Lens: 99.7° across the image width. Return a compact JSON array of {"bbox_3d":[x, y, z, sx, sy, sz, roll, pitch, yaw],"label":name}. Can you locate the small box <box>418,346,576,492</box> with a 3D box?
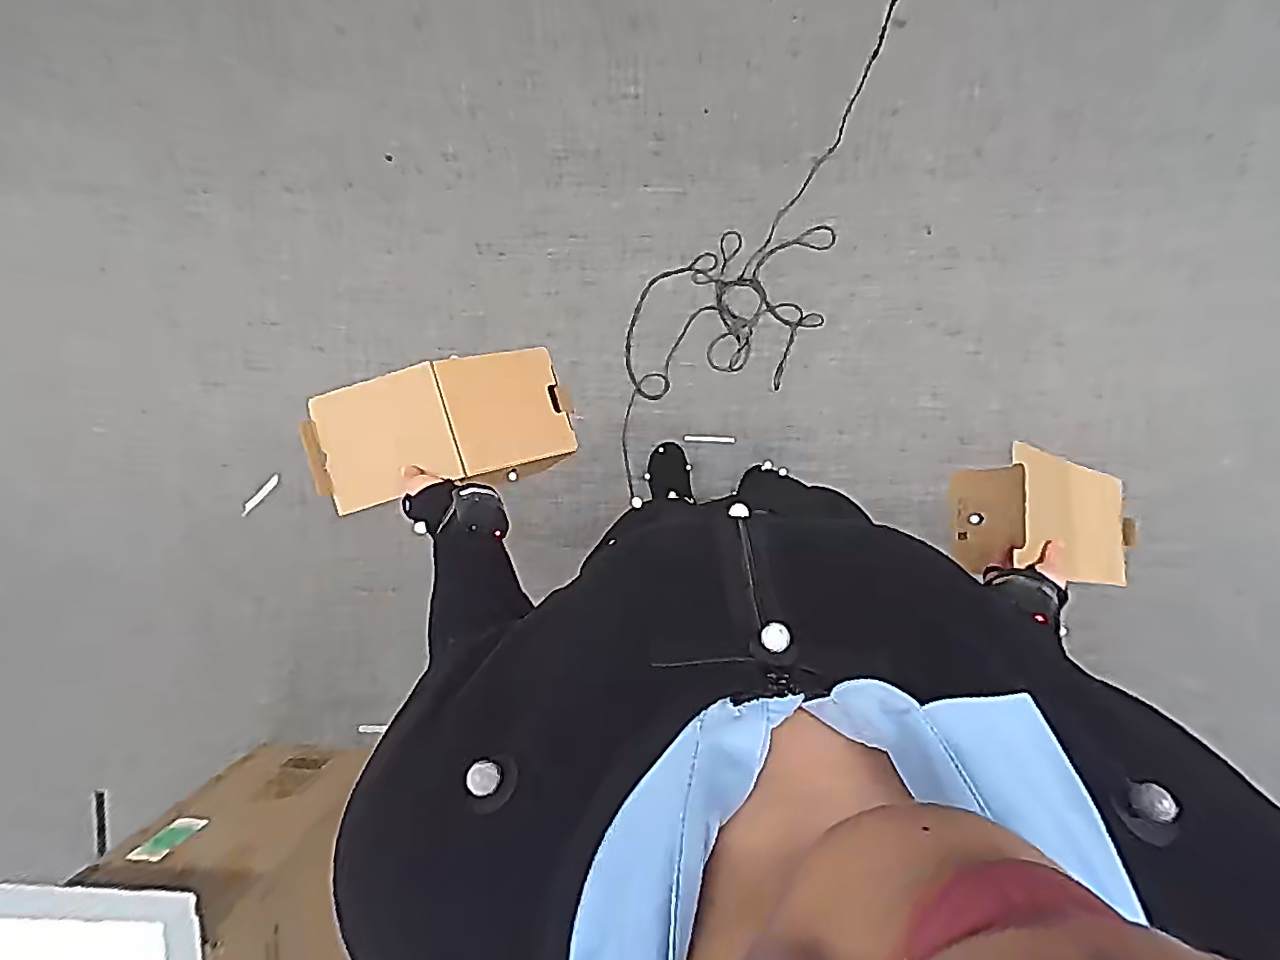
[{"bbox_3d":[-0.226,-0.087,0.823,0.179,0.176,0.168,-16,88,-33],"label":"small box"}]
